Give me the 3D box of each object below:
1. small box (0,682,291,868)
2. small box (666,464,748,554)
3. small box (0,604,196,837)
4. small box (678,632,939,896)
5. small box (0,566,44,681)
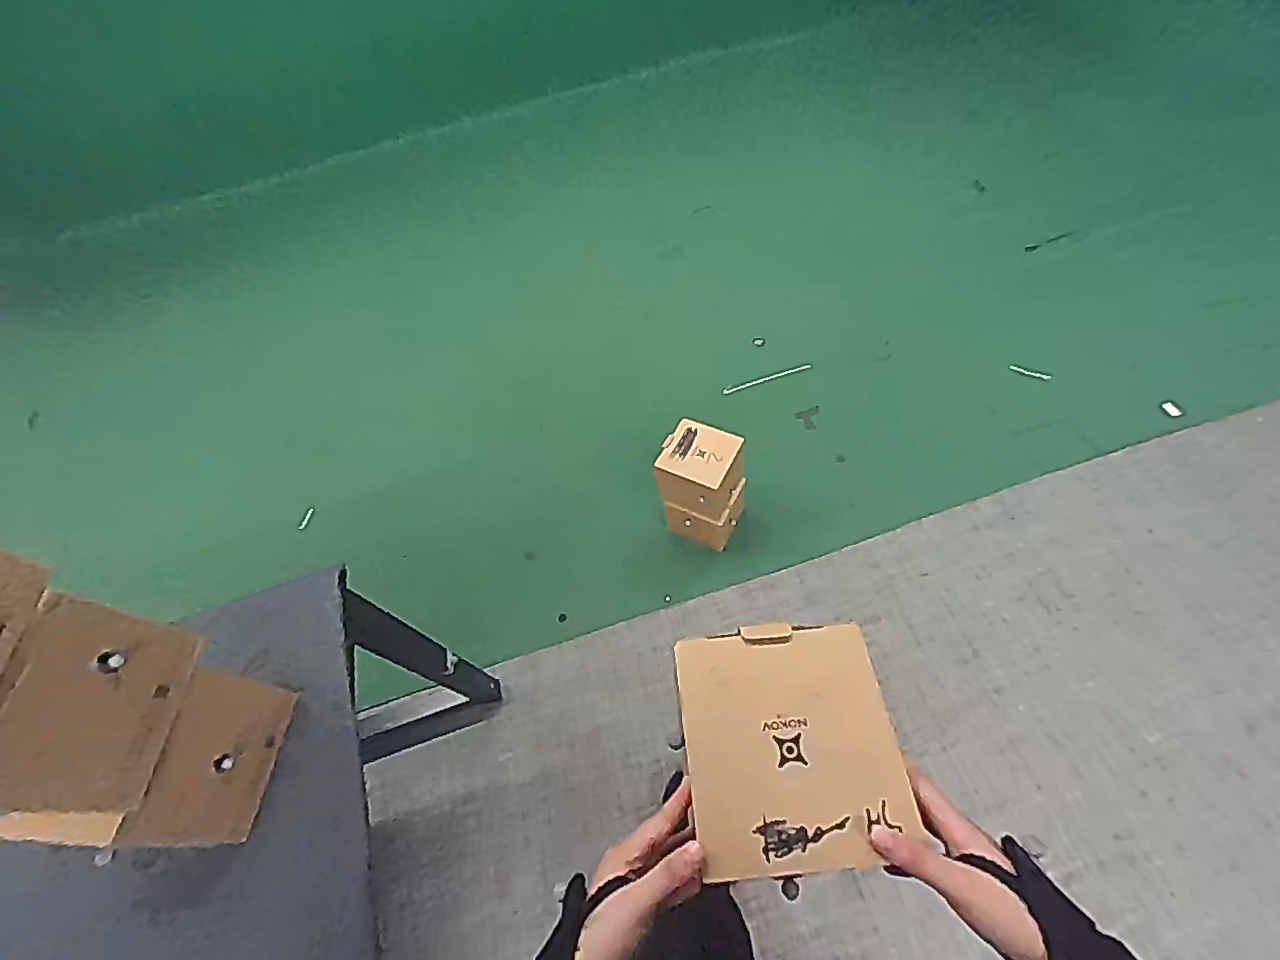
[{"bbox_3d":[-0.547,0.326,0.611,0.179,0.176,0.168,-3,57,10],"label":"small box"},{"bbox_3d":[0.192,0.089,1.528,0.179,0.176,0.168,21,63,21],"label":"small box"},{"bbox_3d":[-0.567,0.222,0.487,0.179,0.176,0.168,-7,56,7],"label":"small box"},{"bbox_3d":[0.125,0.255,0.489,0.168,0.176,0.179,-6,56,0],"label":"small box"},{"bbox_3d":[-0.587,0.126,0.354,0.179,0.176,0.168,-11,56,3],"label":"small box"}]
